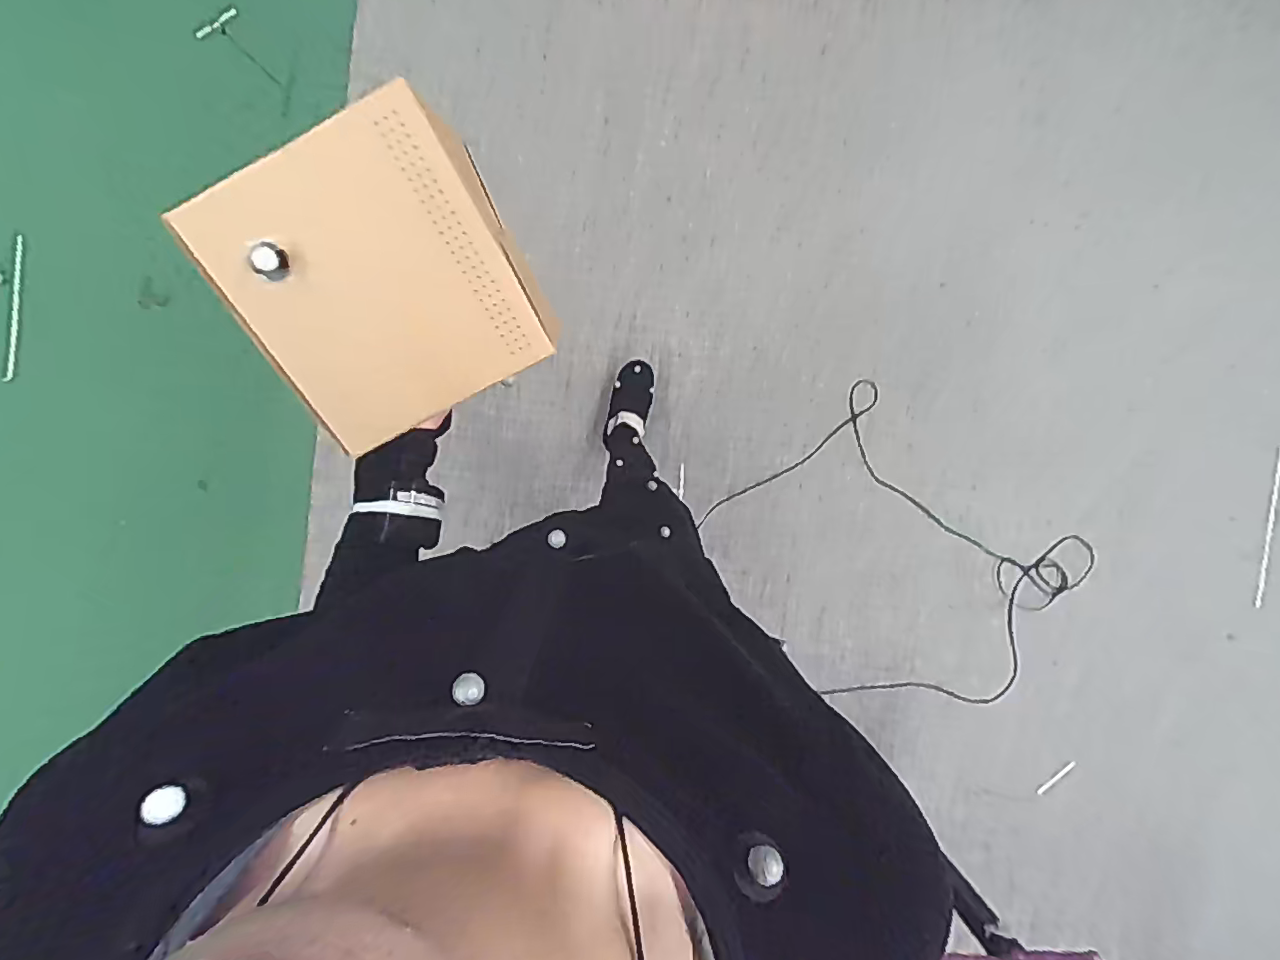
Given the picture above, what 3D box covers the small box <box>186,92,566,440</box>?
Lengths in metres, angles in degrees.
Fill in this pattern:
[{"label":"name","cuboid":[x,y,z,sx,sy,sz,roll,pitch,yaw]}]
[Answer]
[{"label":"small box","cuboid":[-0.172,-0.164,0.421,0.176,0.168,0.179,-26,114,5]}]
